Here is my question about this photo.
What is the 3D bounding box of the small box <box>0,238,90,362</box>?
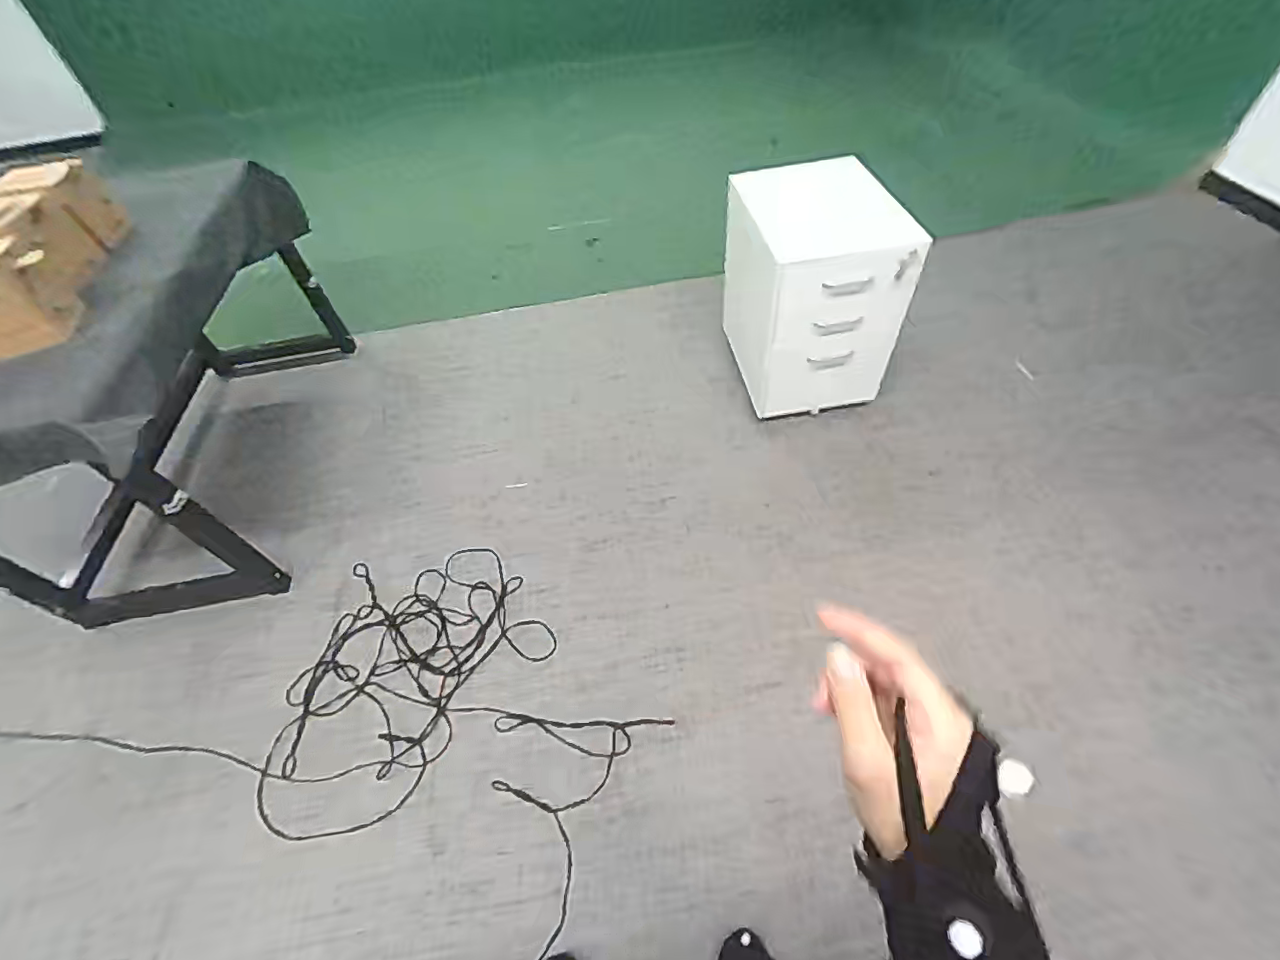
[{"bbox_3d":[-1.318,-0.364,1.118,0.179,0.176,0.168,-22,52,-12],"label":"small box"}]
